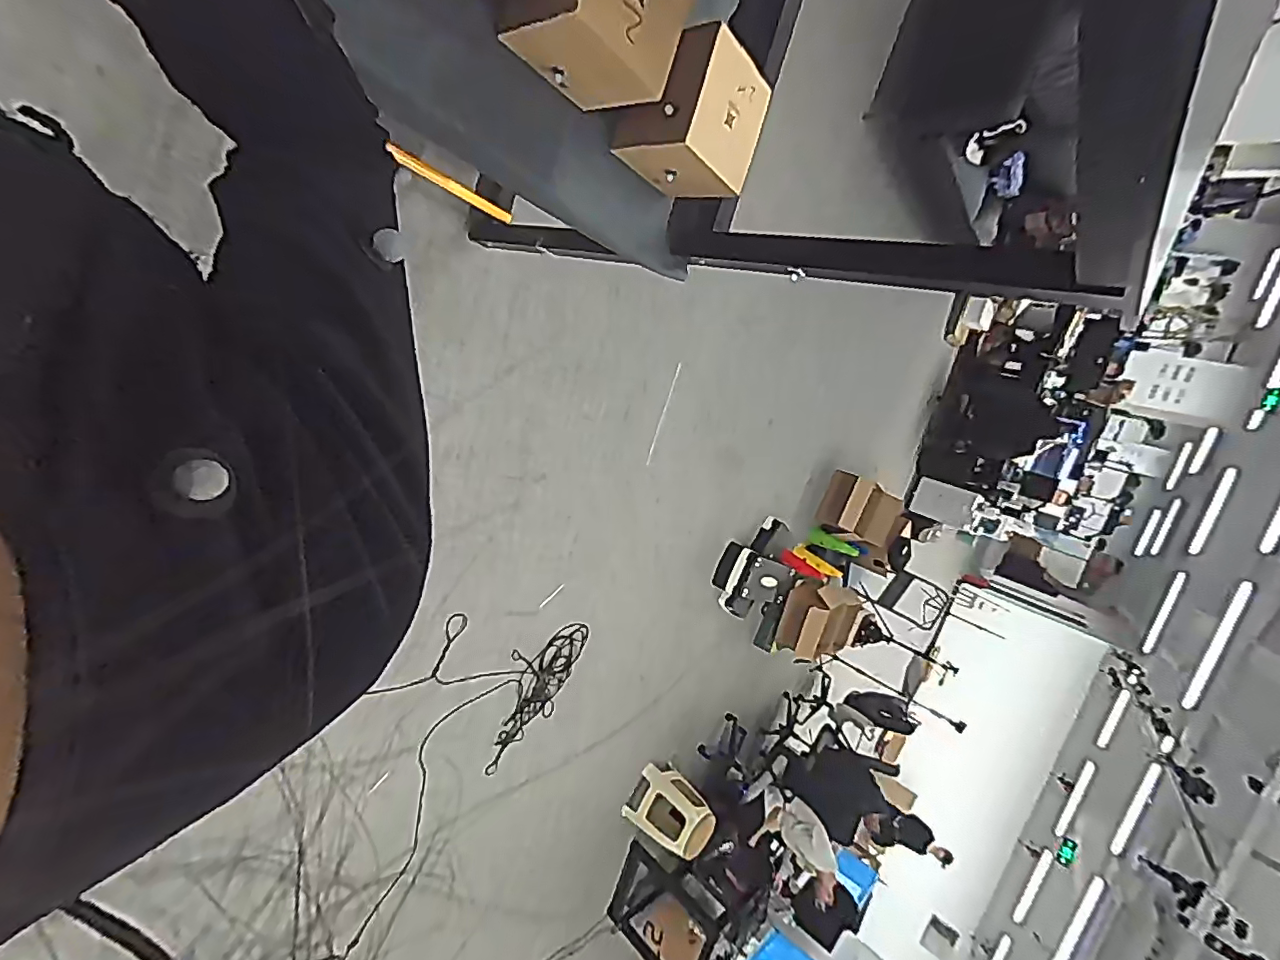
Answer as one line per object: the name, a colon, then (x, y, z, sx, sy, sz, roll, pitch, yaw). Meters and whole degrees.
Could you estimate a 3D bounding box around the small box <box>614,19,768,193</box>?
small box: (0.079, -0.602, 0.898, 0.168, 0.176, 0.179, 6, 104, -51)
